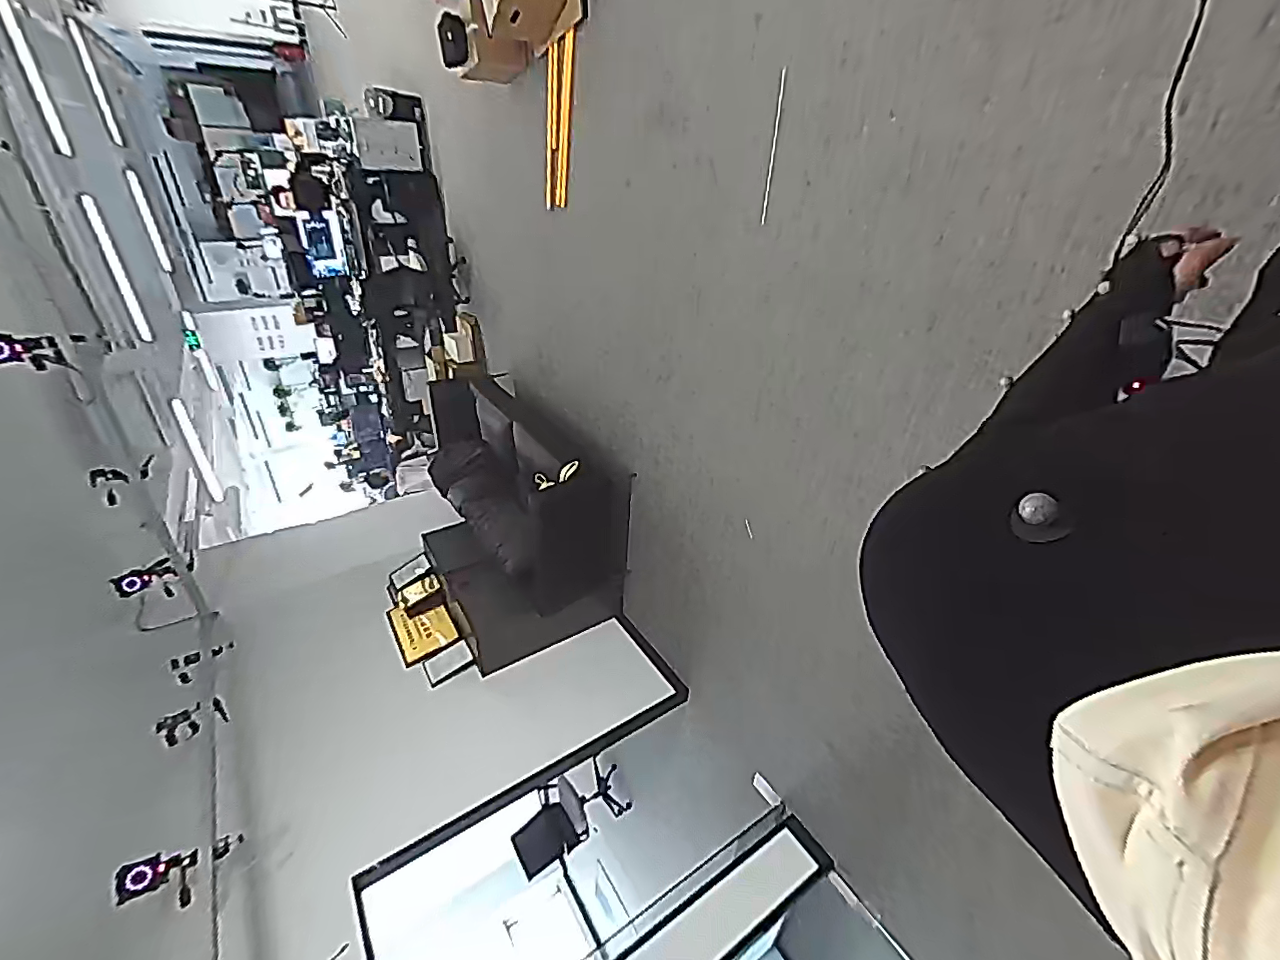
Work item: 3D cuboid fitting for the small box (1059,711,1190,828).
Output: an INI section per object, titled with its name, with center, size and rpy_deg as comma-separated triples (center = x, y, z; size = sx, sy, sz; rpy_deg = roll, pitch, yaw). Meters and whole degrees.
[small box]
center = 1.237, 0.733, 1.380
size = 0.168, 0.176, 0.179
rpy_deg = 44, 141, 40
